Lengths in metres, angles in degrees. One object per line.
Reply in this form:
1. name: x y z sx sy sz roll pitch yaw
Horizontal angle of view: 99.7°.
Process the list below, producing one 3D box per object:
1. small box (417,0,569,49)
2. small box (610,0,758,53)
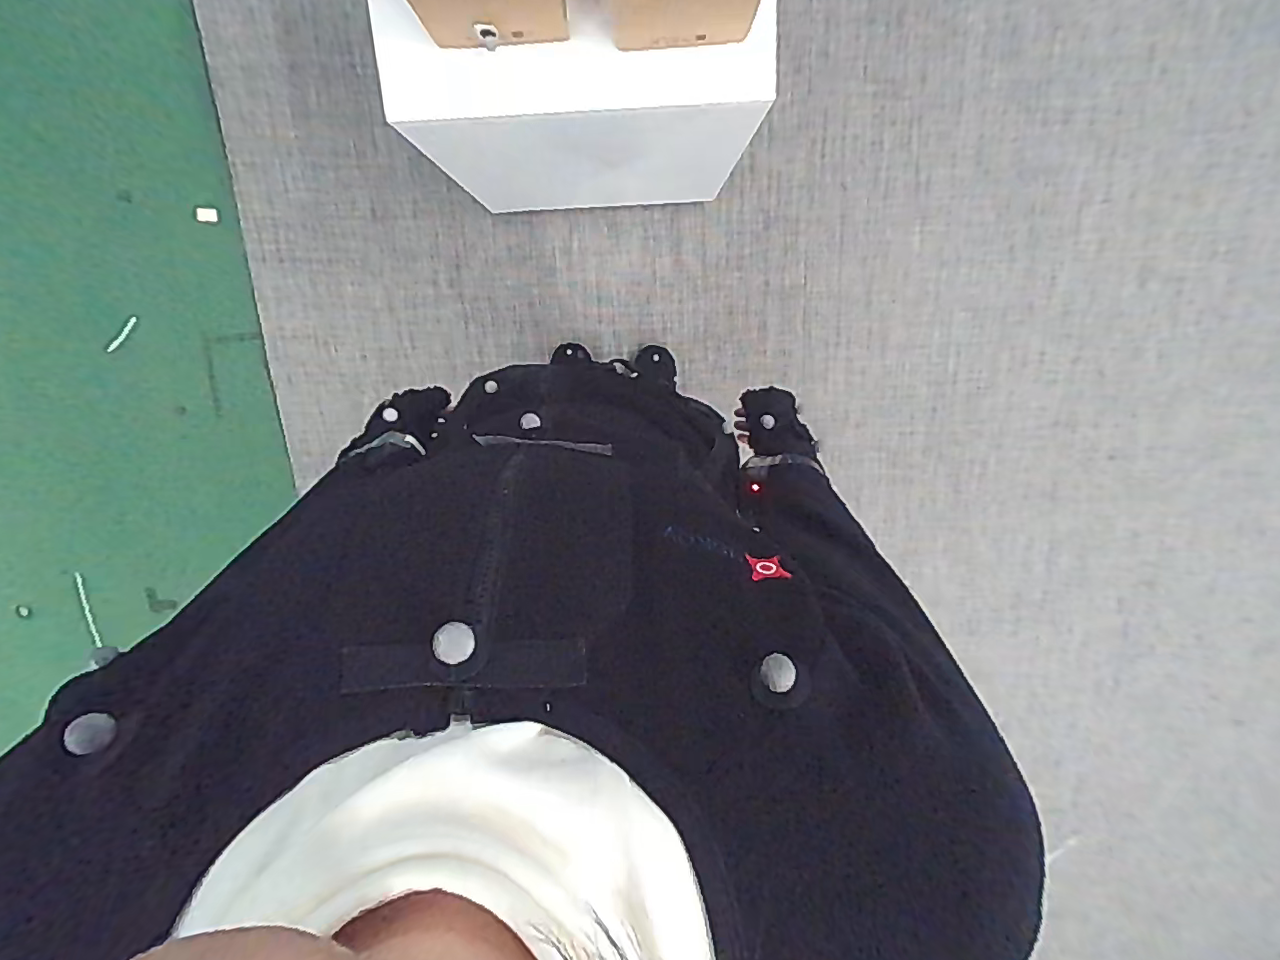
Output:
1. small box: -0.174 -0.604 0.571 0.168 0.176 0.179 -5 106 2
2. small box: 0.046 -0.609 0.584 0.168 0.176 0.179 -3 104 0
